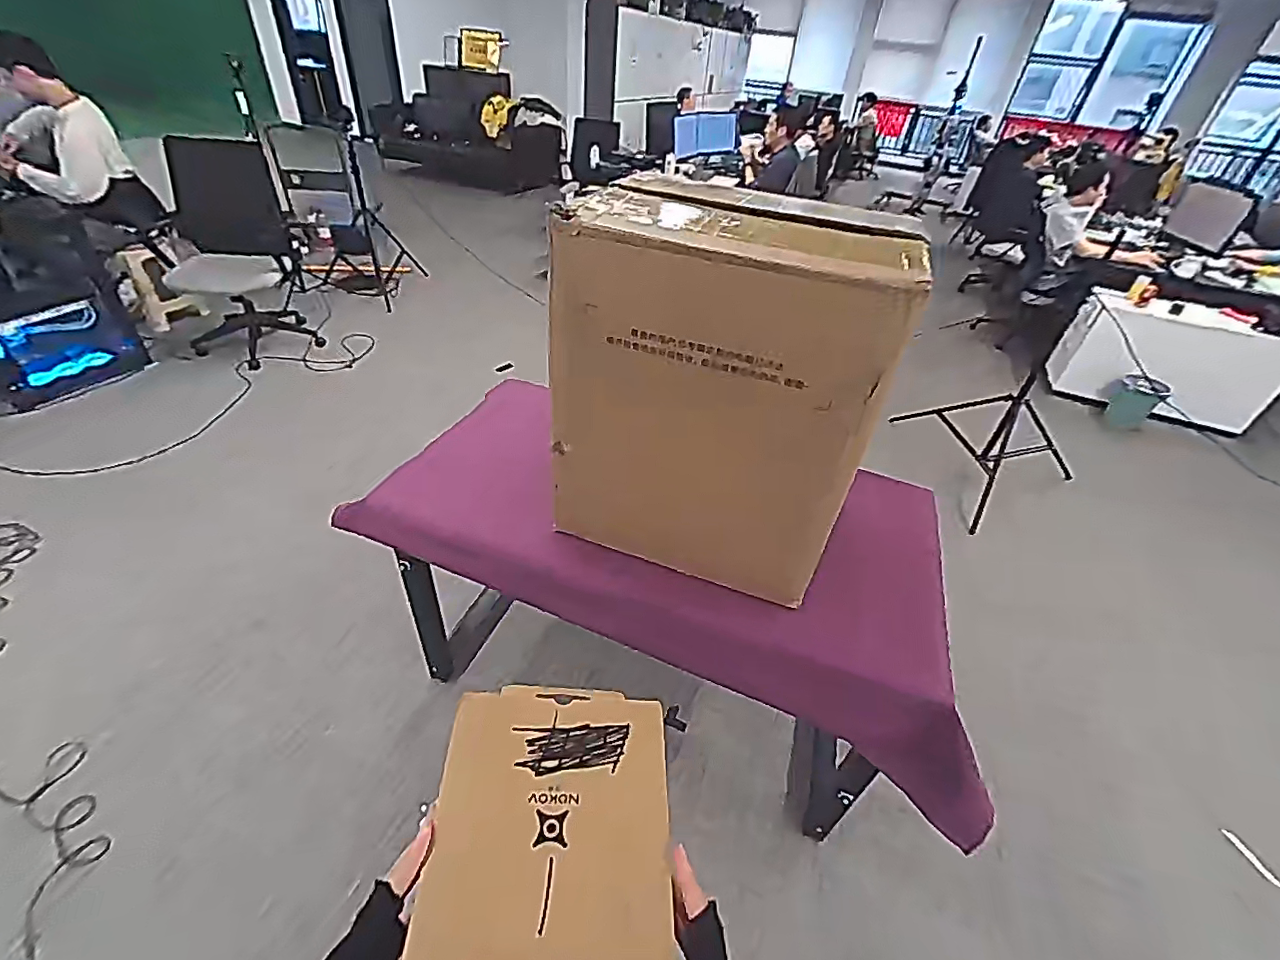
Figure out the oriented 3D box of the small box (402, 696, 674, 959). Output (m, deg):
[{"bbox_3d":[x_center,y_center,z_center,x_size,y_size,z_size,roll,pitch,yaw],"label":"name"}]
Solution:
[{"bbox_3d":[-0.073,0.300,0.435,0.168,0.176,0.179,5,40,-7],"label":"small box"}]
